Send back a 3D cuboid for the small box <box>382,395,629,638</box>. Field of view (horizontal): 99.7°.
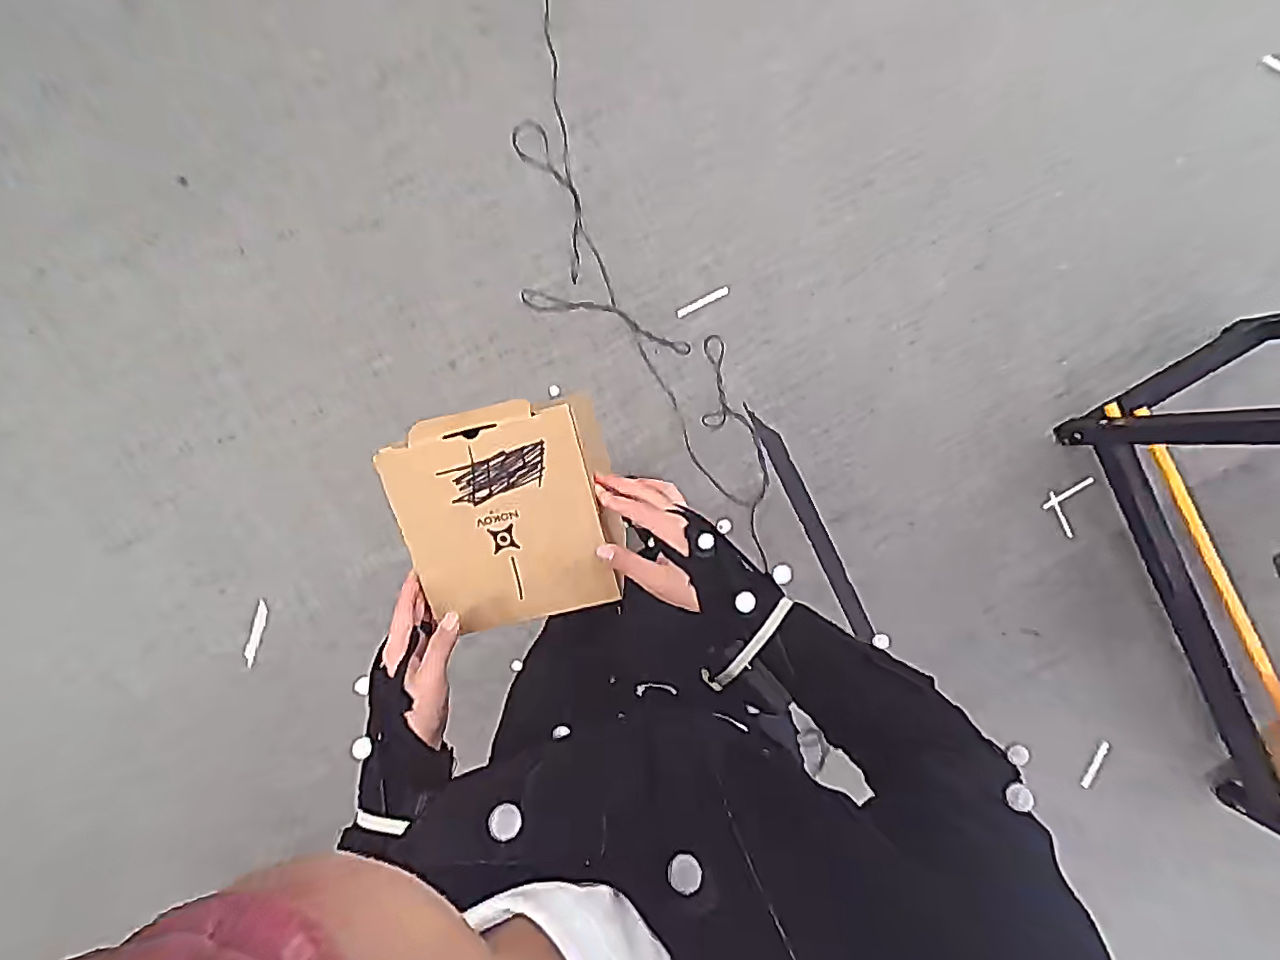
[{"bbox_3d":[-0.108,0.019,0.516,0.168,0.176,0.179,-13,103,3],"label":"small box"}]
